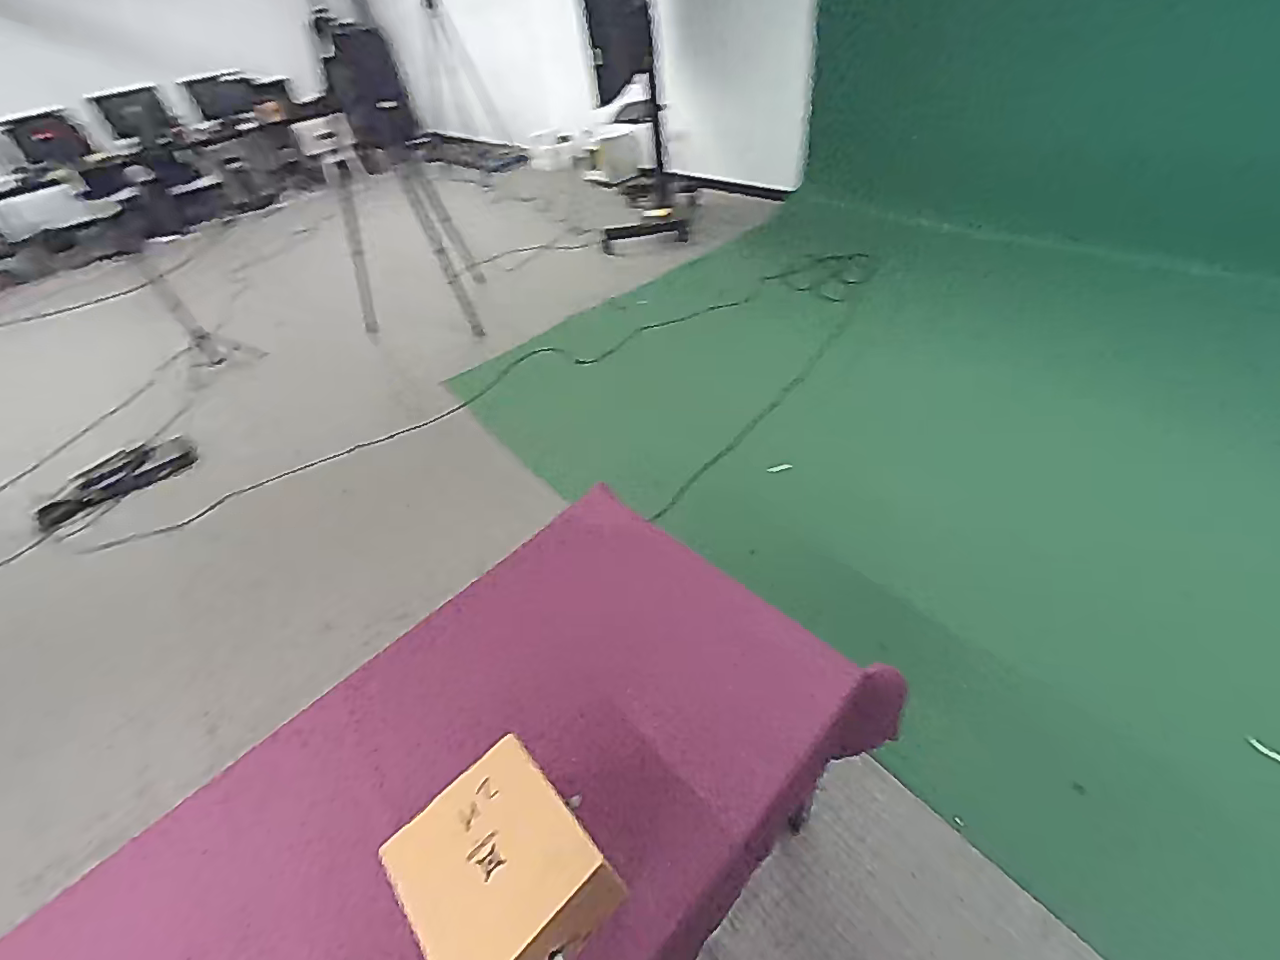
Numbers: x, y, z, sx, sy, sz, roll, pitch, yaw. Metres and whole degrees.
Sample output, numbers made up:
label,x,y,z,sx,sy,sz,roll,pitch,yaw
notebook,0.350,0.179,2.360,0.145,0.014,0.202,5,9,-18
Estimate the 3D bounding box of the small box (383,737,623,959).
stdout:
label,x,y,z,sx,sy,sz,roll,pitch,yaw
small box,-0.139,0.433,0.596,0.168,0.176,0.179,-36,48,-25
